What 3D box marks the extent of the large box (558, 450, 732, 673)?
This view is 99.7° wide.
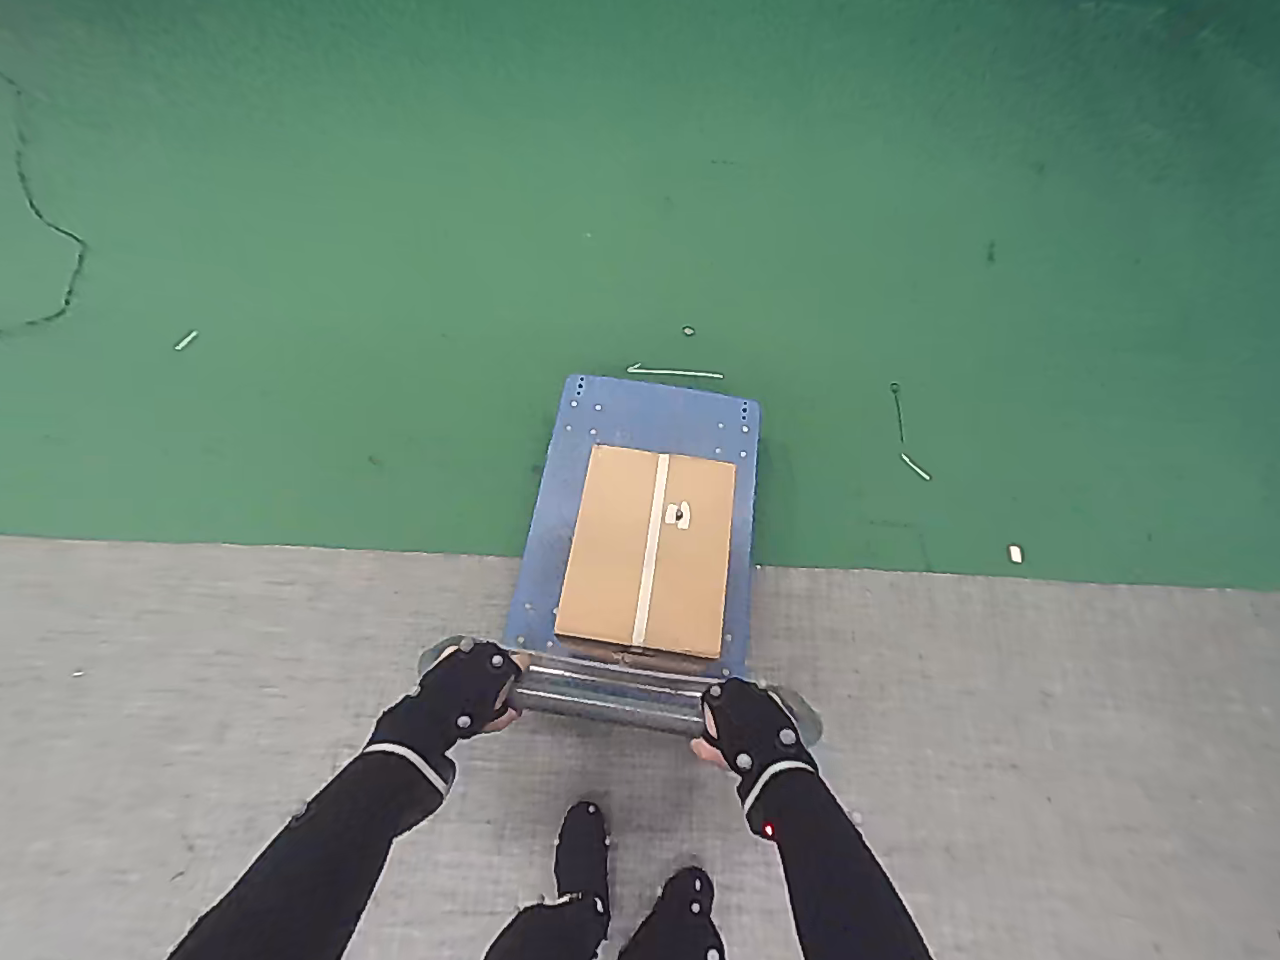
[{"bbox_3d":[0.017,0.195,1.216,0.320,0.320,0.408,9,65,1],"label":"large box"}]
